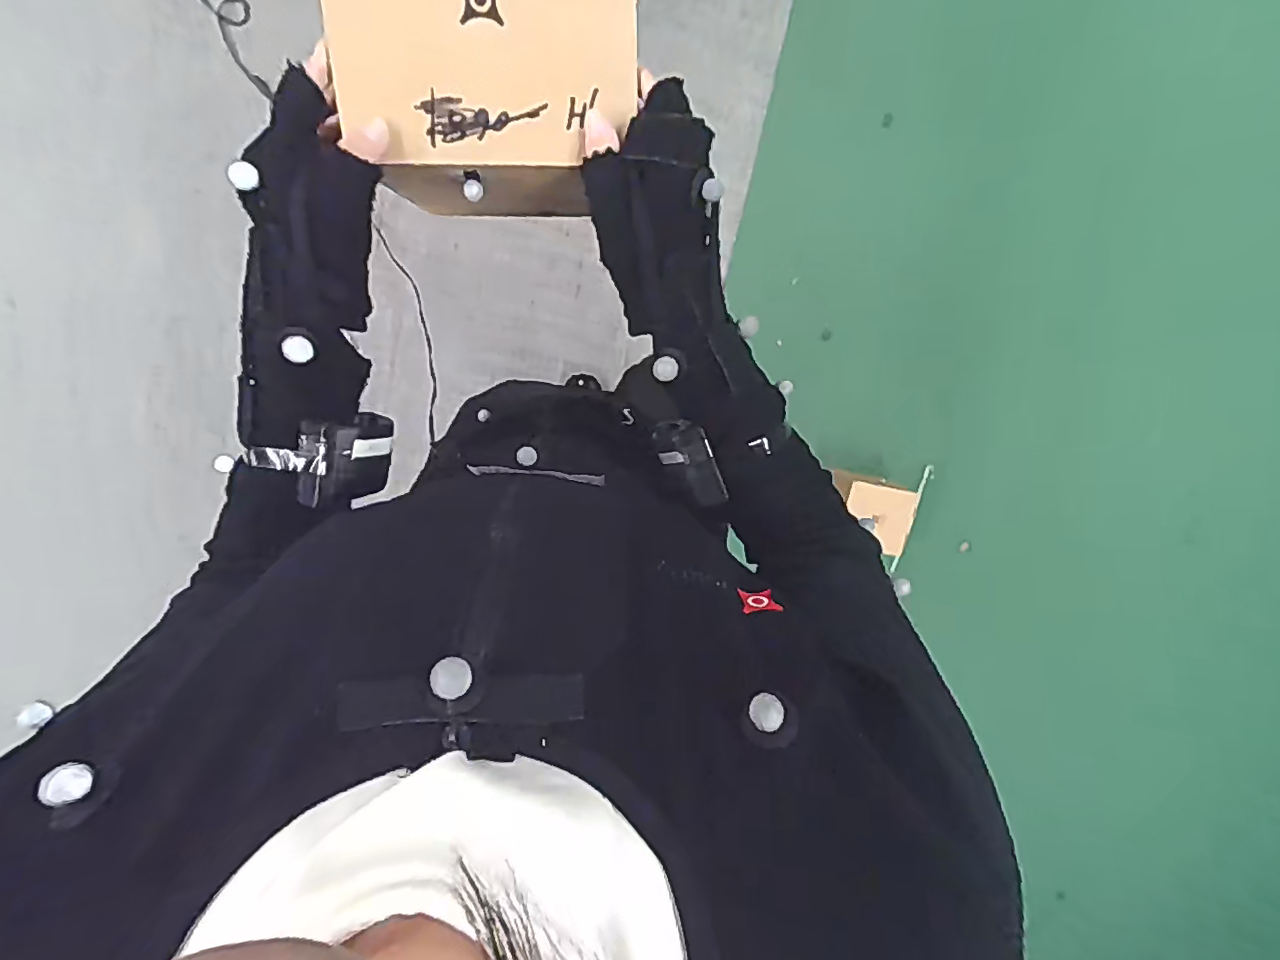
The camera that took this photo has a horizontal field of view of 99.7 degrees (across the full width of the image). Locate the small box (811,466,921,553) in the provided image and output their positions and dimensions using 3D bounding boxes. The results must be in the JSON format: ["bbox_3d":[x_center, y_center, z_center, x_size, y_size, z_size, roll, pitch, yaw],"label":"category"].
[{"bbox_3d":[0.570,0.069,1.385,0.179,0.176,0.168,13,101,-6],"label":"small box"}]

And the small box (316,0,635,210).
[{"bbox_3d":[-0.093,-0.290,0.354,0.168,0.176,0.179,-2,107,-5],"label":"small box"}]
